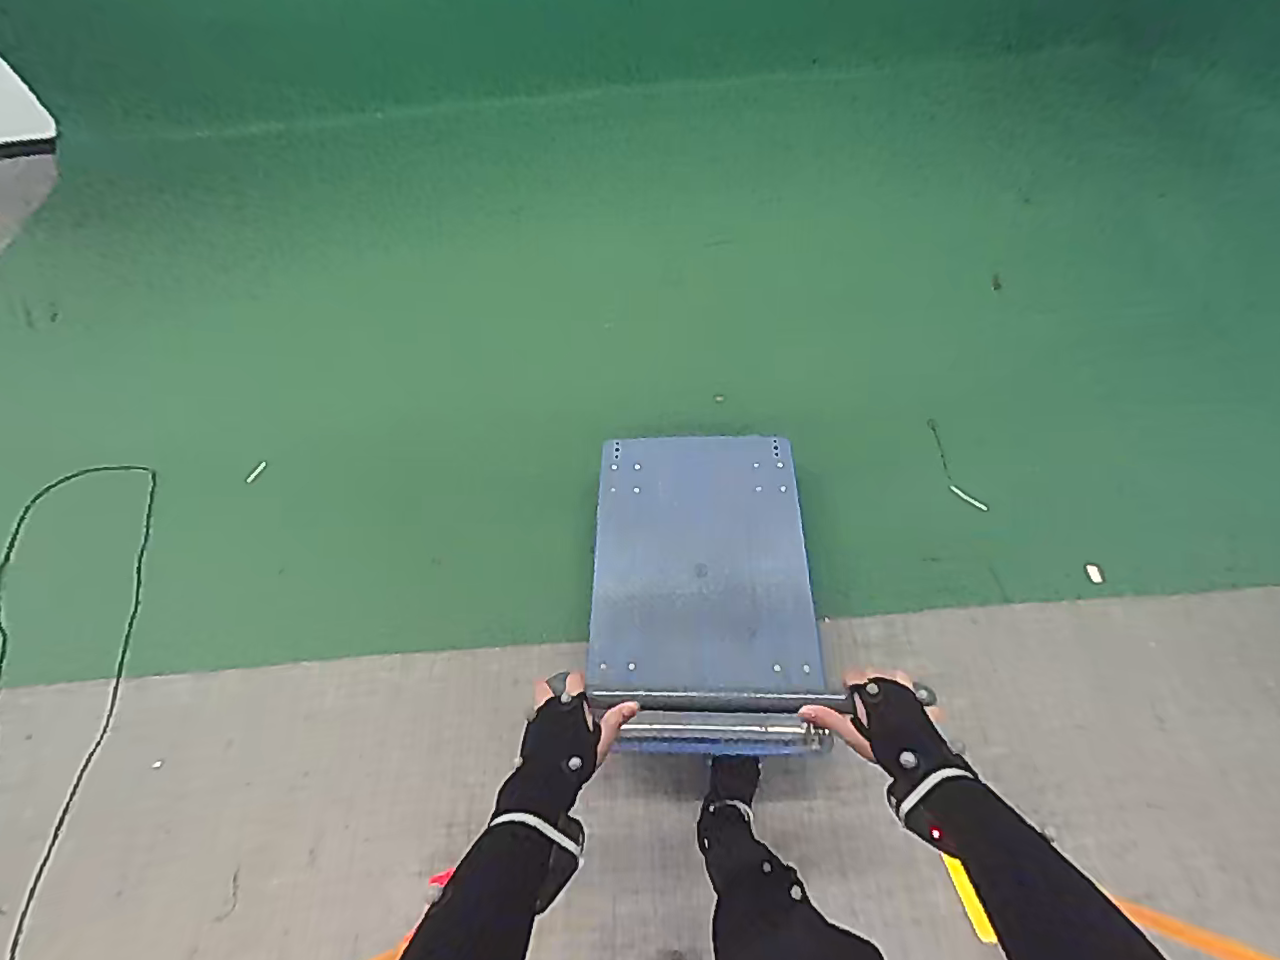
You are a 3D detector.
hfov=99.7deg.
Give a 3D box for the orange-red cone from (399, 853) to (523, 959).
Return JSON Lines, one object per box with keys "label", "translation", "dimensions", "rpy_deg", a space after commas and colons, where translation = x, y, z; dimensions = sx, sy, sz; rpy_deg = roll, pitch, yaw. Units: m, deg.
{"label": "orange-red cone", "translation": [-0.390, 0.906, 1.089], "dimensions": [0.199, 0.360, 0.198], "rpy_deg": [-18, 59, -5]}
